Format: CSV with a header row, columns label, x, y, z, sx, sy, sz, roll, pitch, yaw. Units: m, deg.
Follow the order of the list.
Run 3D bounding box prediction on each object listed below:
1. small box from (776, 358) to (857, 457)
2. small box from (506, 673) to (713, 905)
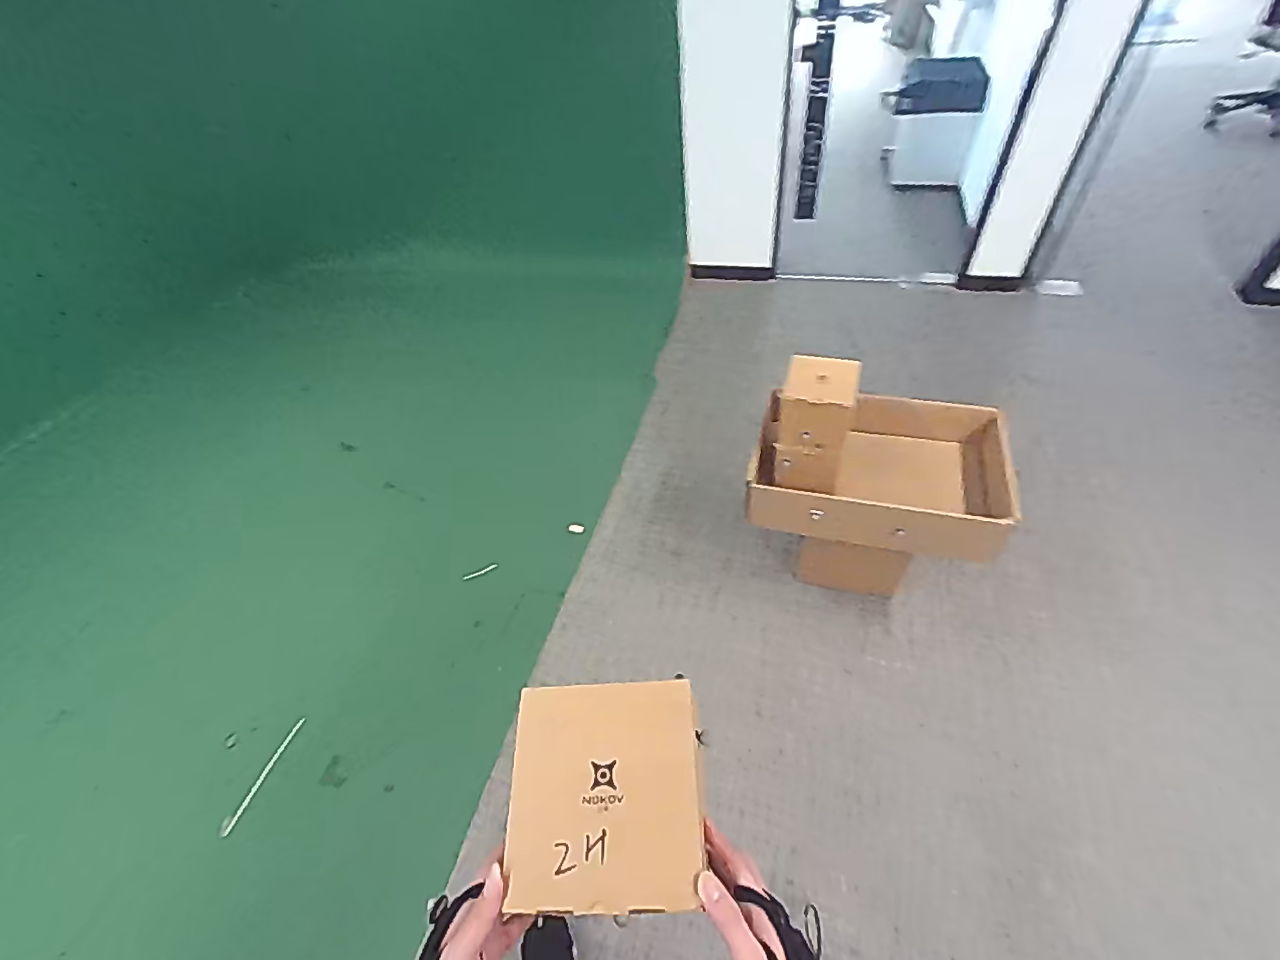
label,x,y,z,sx,sy,sz,roll,pitch,yaw
small box,0.446,-0.185,1.381,0.168,0.176,0.179,10,50,17
small box,-0.015,0.305,0.536,0.168,0.176,0.179,-4,55,7
